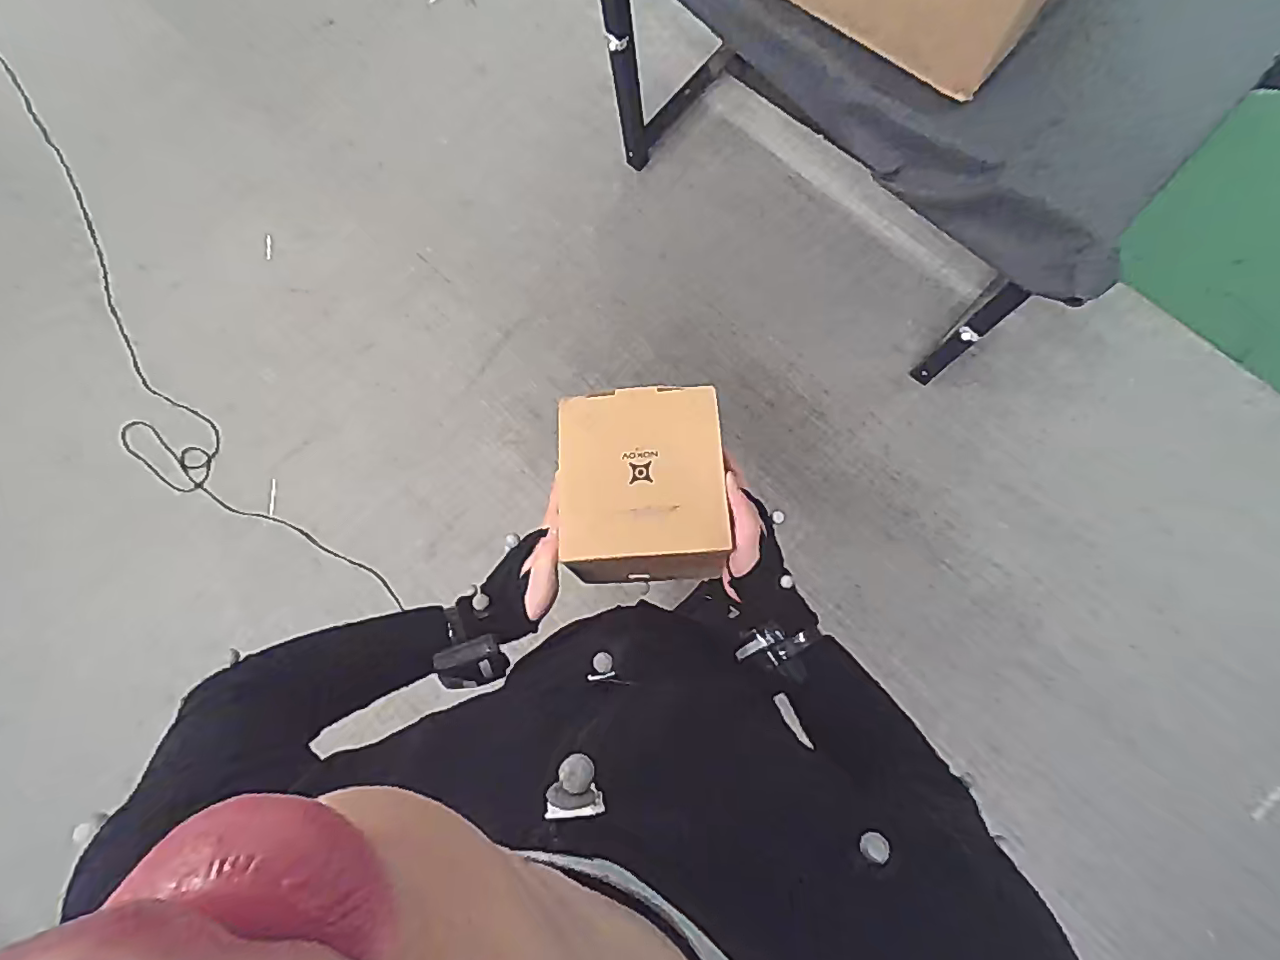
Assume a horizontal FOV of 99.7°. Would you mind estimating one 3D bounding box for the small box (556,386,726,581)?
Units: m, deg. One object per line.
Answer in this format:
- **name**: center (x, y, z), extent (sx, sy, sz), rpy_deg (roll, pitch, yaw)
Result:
- **small box**: center (0.001, 0.013, 0.617), extent (0.168, 0.176, 0.179), rpy_deg (-4, 72, 3)
